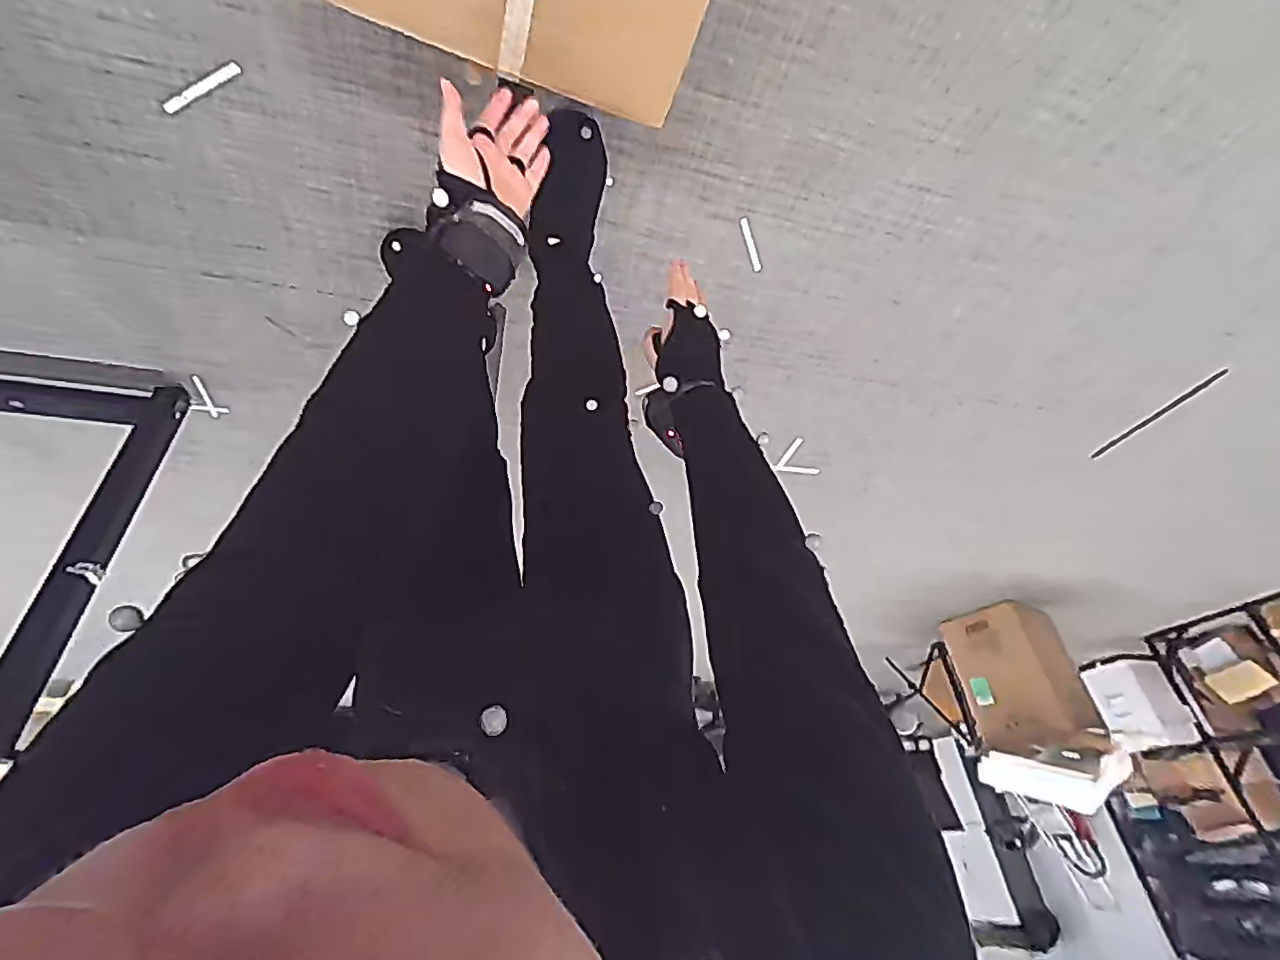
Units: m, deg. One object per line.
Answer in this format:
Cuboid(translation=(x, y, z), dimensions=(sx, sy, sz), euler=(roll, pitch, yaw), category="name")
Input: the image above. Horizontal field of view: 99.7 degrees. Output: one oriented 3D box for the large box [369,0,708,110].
Cuboid(translation=(-0.062, -0.620, 0.431), dimensions=(0.320, 0.320, 0.408), euler=(8, 143, -20), category="large box")
